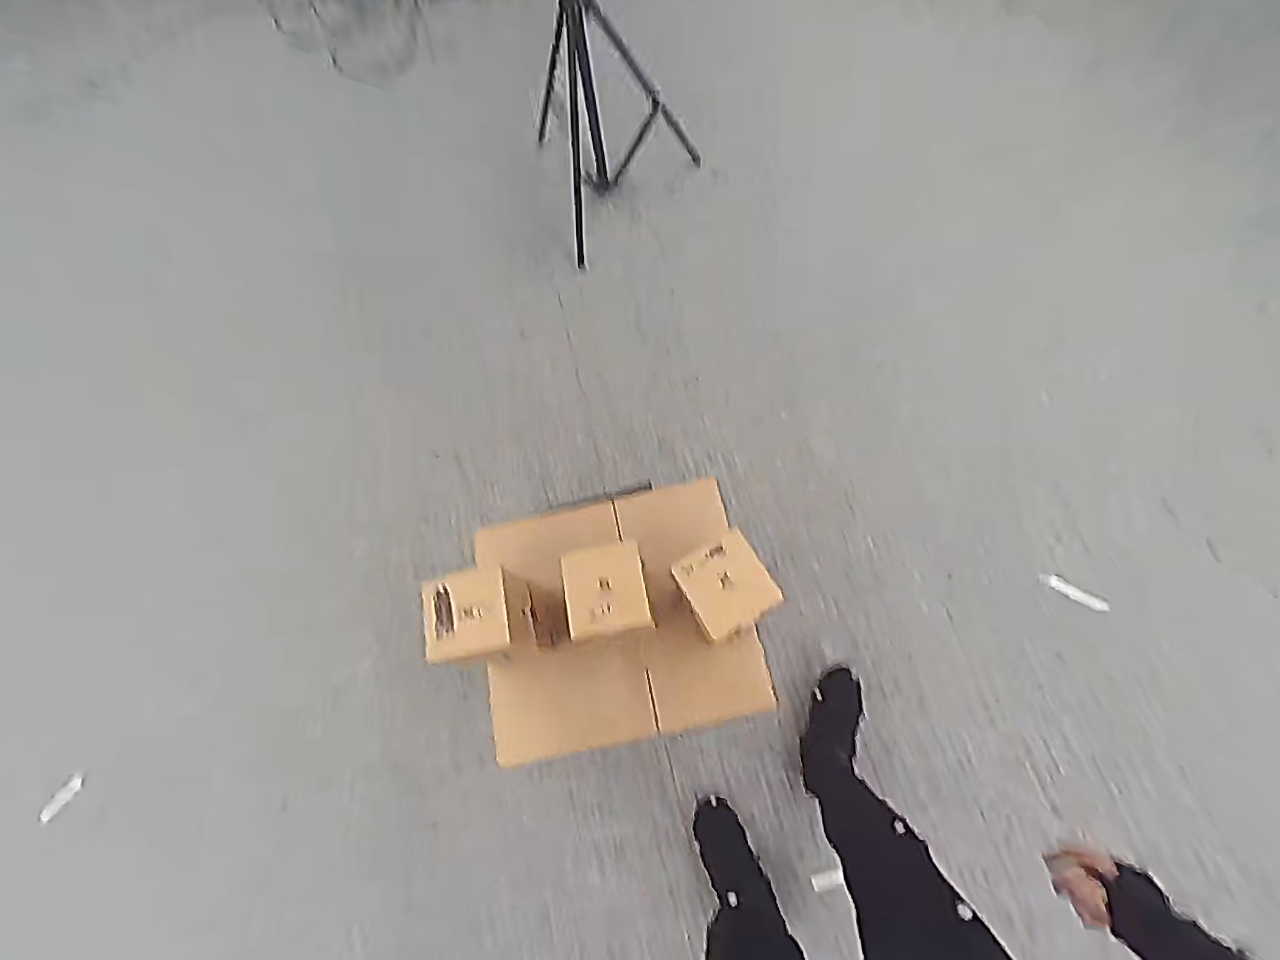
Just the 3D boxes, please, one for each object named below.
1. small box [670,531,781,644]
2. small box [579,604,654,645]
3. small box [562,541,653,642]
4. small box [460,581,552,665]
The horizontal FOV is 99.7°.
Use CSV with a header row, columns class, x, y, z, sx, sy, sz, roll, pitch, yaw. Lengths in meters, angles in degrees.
class,x,y,z,sx,sy,sz,roll,pitch,yaw
small box,0.180,0.238,1.172,0.168,0.176,0.179,-30,71,-5
small box,-0.063,0.309,1.340,0.179,0.176,0.168,-11,70,1
small box,-0.066,0.250,1.186,0.168,0.176,0.179,-11,70,1
small box,-0.325,0.358,1.343,0.179,0.176,0.168,-13,70,2
